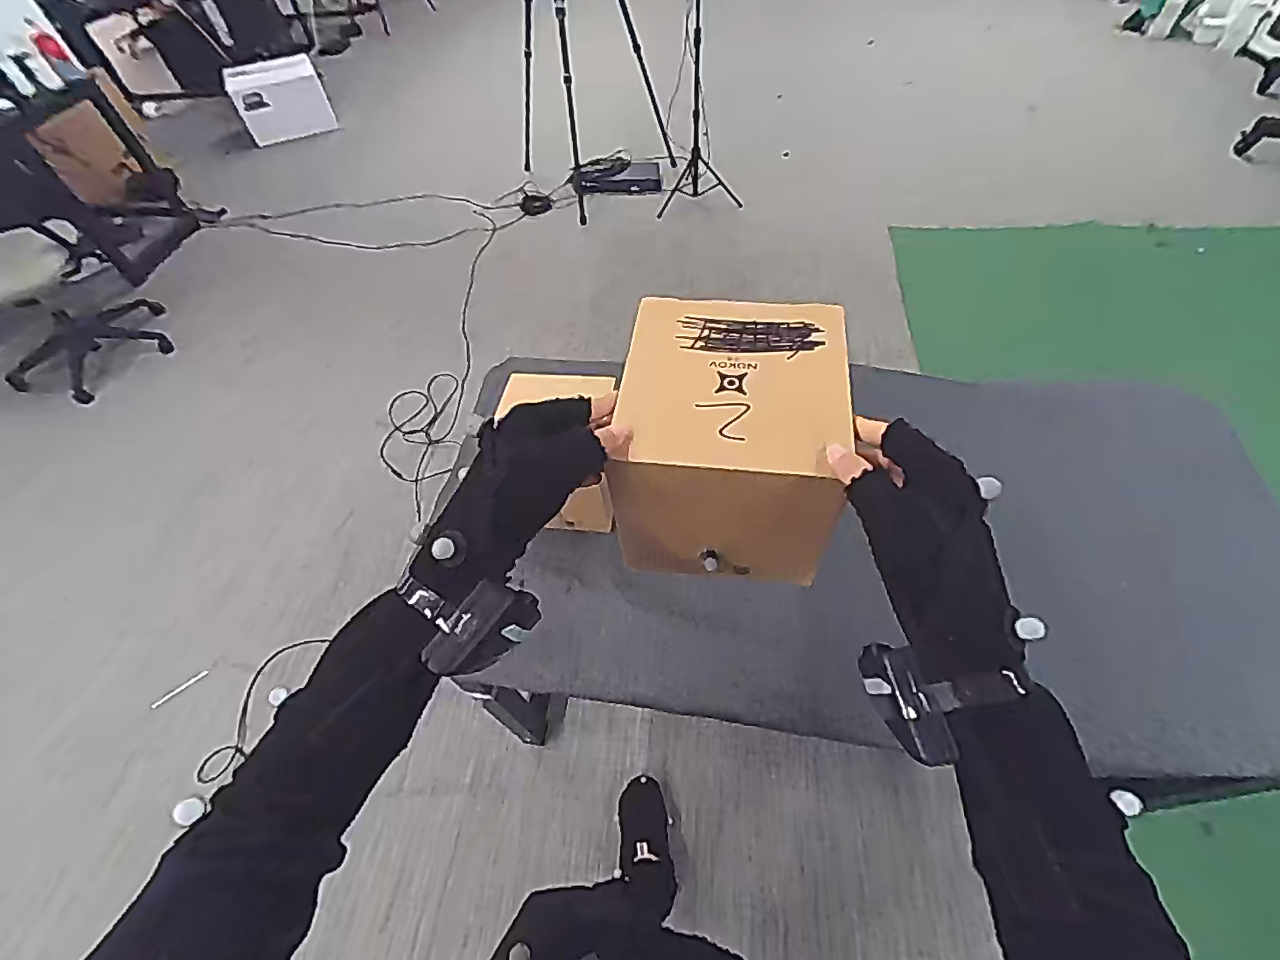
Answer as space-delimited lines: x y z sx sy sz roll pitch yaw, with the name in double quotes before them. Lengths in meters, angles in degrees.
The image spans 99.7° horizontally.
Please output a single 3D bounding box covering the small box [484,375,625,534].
"small box" -0.118 -0.039 0.838 0.168 0.176 0.179 4 53 7
